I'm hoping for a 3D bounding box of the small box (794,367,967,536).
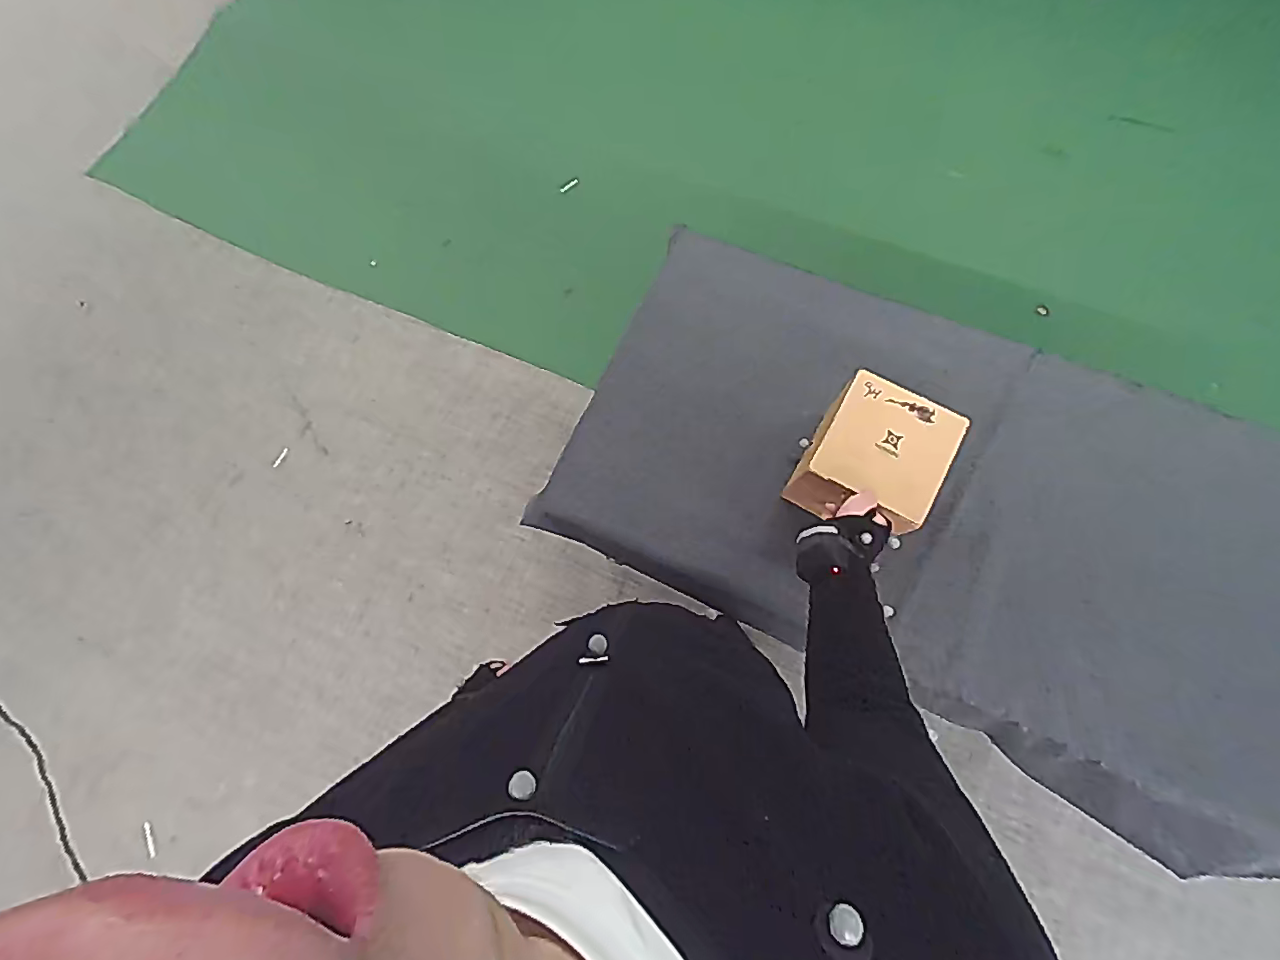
[{"bbox_3d":[0.348,-0.033,0.820,0.168,0.176,0.179,26,77,11],"label":"small box"}]
